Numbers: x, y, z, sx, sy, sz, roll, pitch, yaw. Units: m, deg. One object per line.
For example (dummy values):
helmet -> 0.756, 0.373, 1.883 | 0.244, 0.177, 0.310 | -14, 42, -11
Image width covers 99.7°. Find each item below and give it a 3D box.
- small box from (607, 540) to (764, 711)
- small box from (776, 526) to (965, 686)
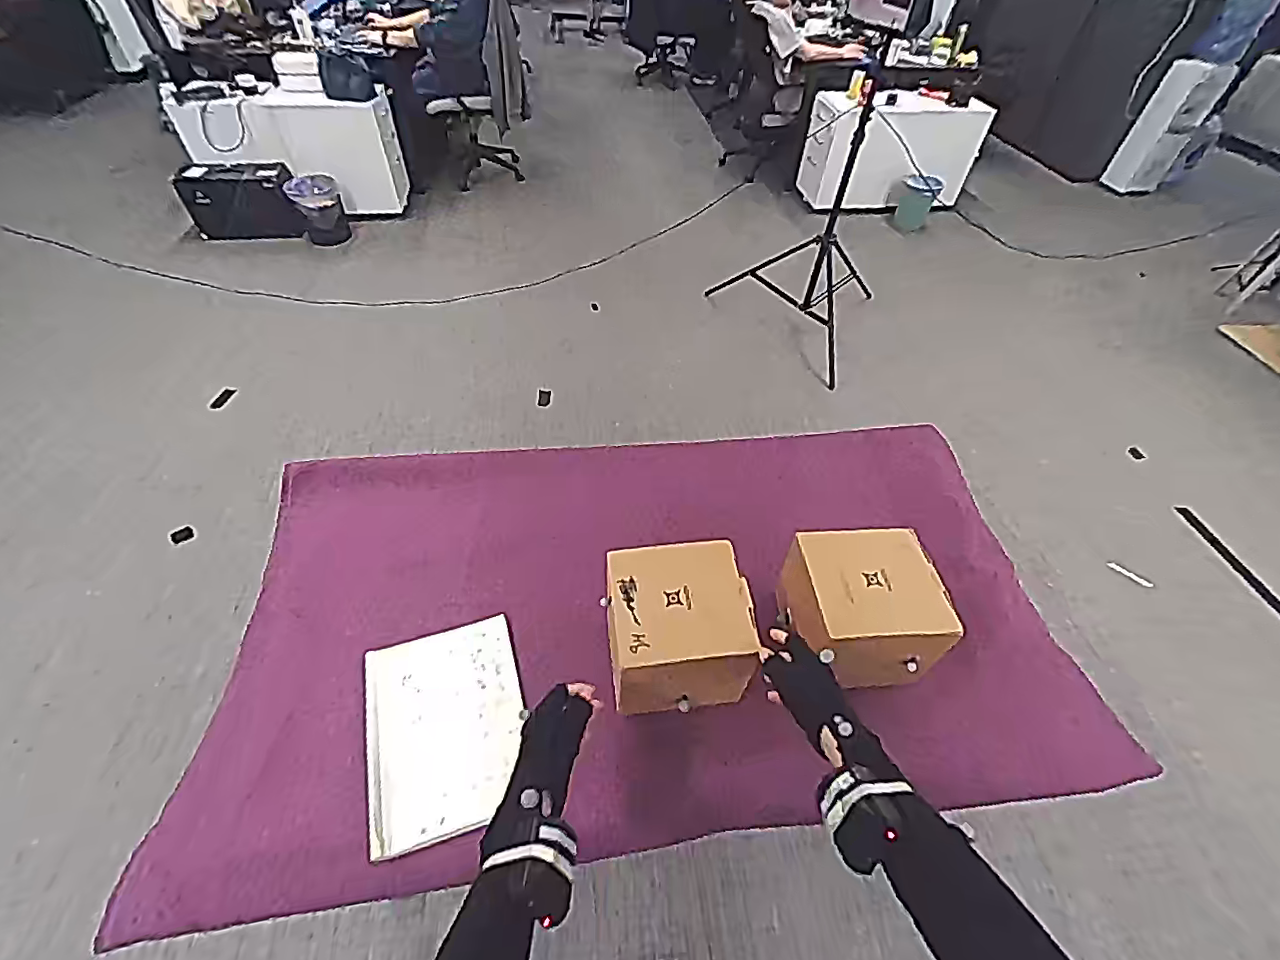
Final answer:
small box -> 0.049, 0.202, 0.745 | 0.179, 0.176, 0.168 | -4, 48, -7
small box -> 0.312, 0.182, 0.776 | 0.179, 0.176, 0.168 | -2, 47, -3
